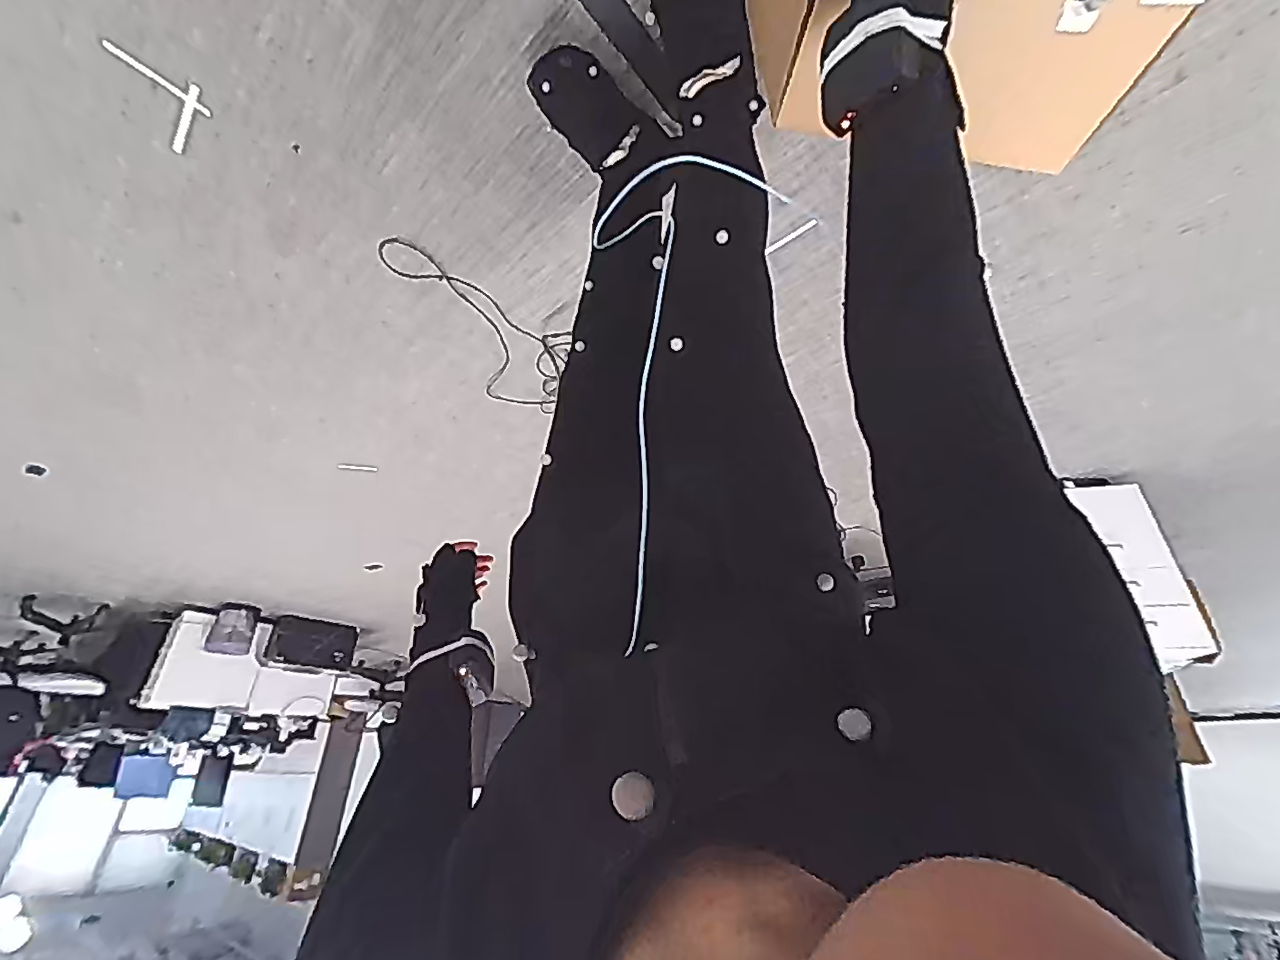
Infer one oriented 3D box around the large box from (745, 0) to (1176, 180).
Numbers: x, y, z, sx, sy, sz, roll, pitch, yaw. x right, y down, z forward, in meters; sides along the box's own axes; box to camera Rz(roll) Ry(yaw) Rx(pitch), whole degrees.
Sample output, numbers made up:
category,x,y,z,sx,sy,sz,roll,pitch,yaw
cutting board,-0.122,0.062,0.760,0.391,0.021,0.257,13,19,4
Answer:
category,x,y,z,sx,sy,sz,roll,pitch,yaw
large box,0.305,-0.569,0.529,0.320,0.408,0.320,6,149,-7
